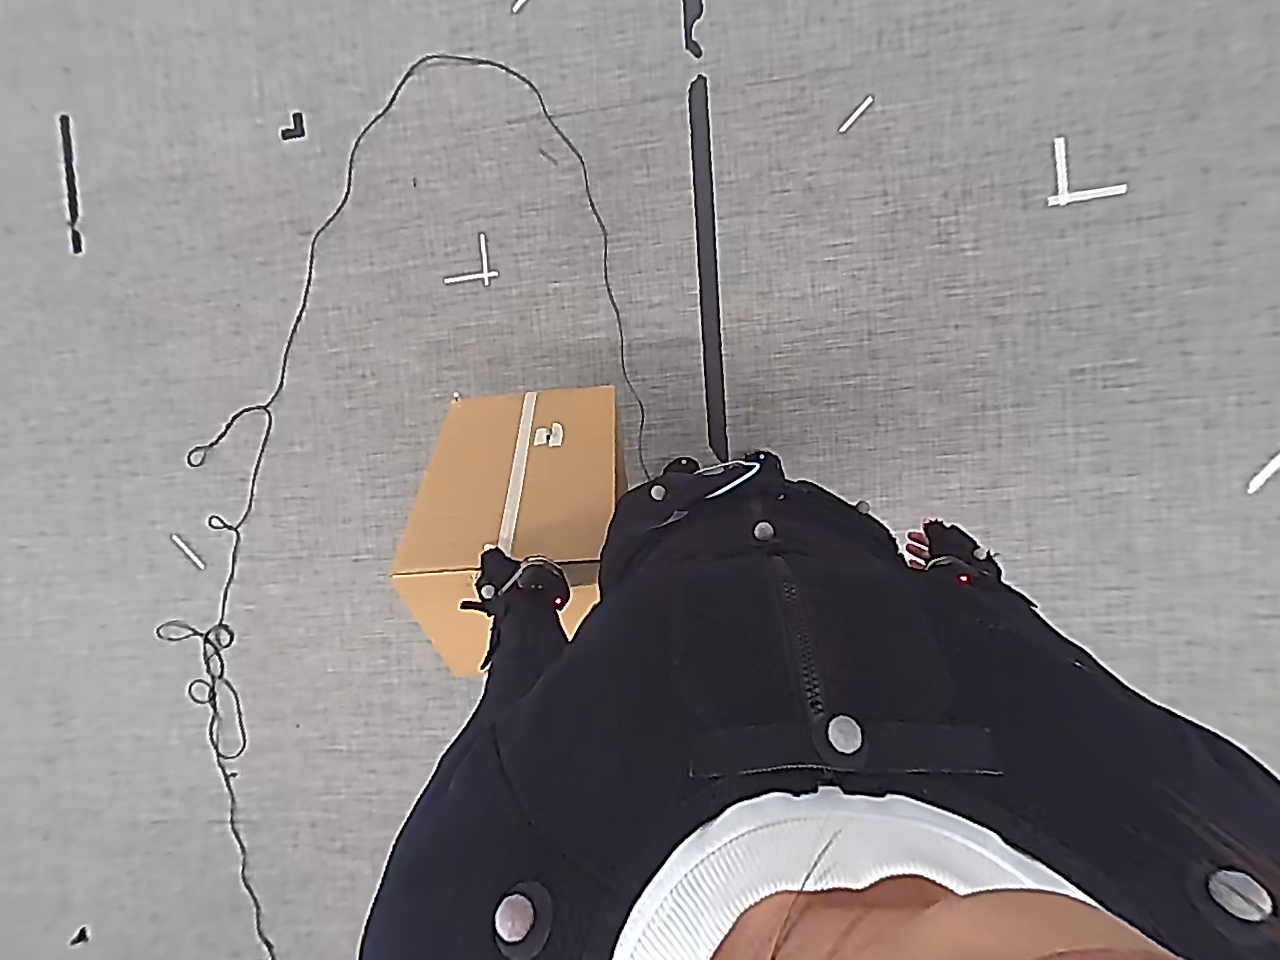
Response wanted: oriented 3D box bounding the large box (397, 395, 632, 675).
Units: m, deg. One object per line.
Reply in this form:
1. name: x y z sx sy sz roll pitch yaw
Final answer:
1. large box: -0.186 0.094 0.994 0.320 0.408 0.320 -4 134 2
